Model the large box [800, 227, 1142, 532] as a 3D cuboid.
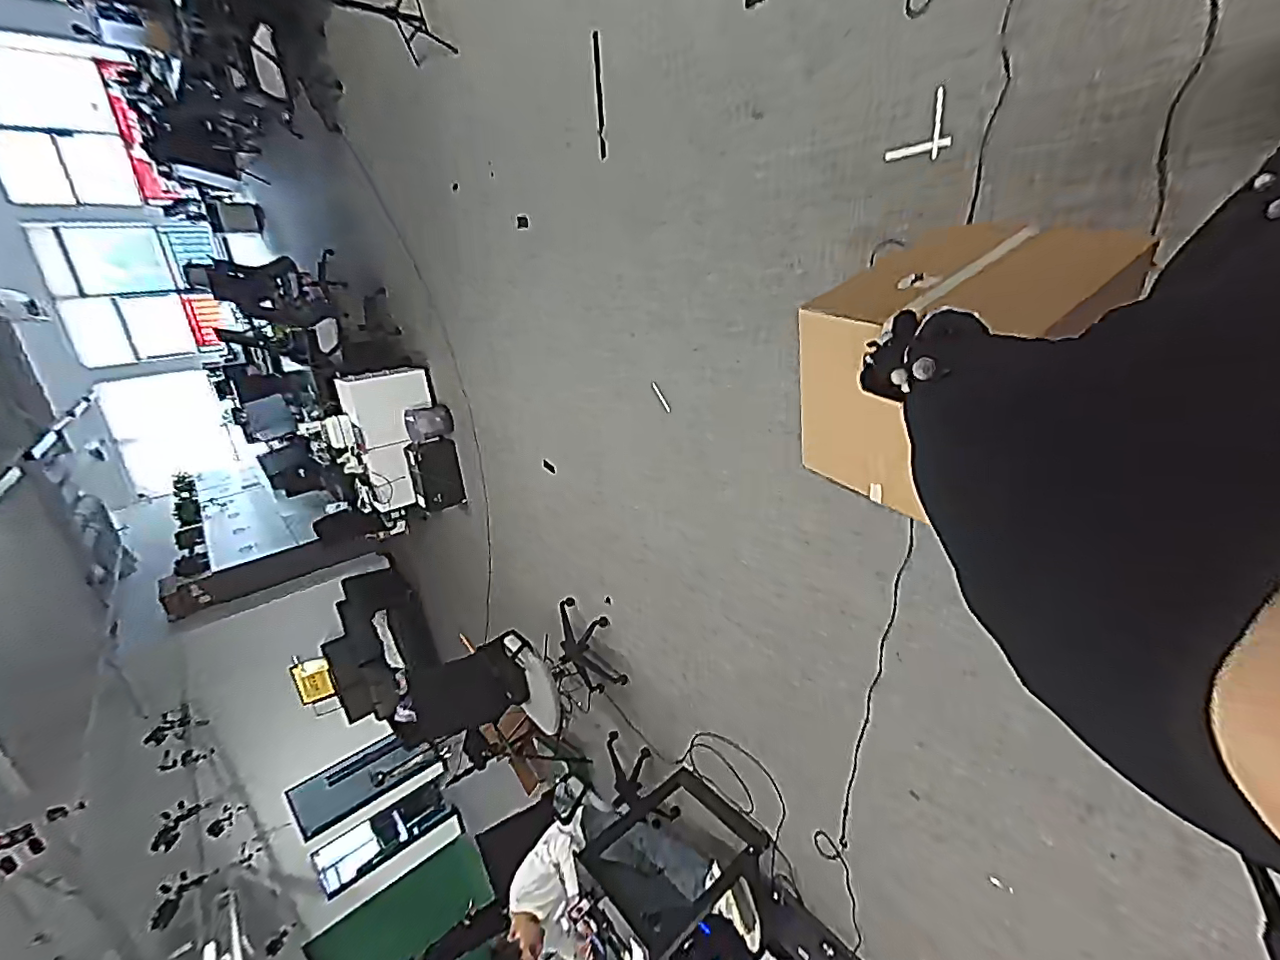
[{"bbox_3d":[0.520,-0.190,0.902,0.320,0.408,0.320,33,147,46],"label":"large box"}]
